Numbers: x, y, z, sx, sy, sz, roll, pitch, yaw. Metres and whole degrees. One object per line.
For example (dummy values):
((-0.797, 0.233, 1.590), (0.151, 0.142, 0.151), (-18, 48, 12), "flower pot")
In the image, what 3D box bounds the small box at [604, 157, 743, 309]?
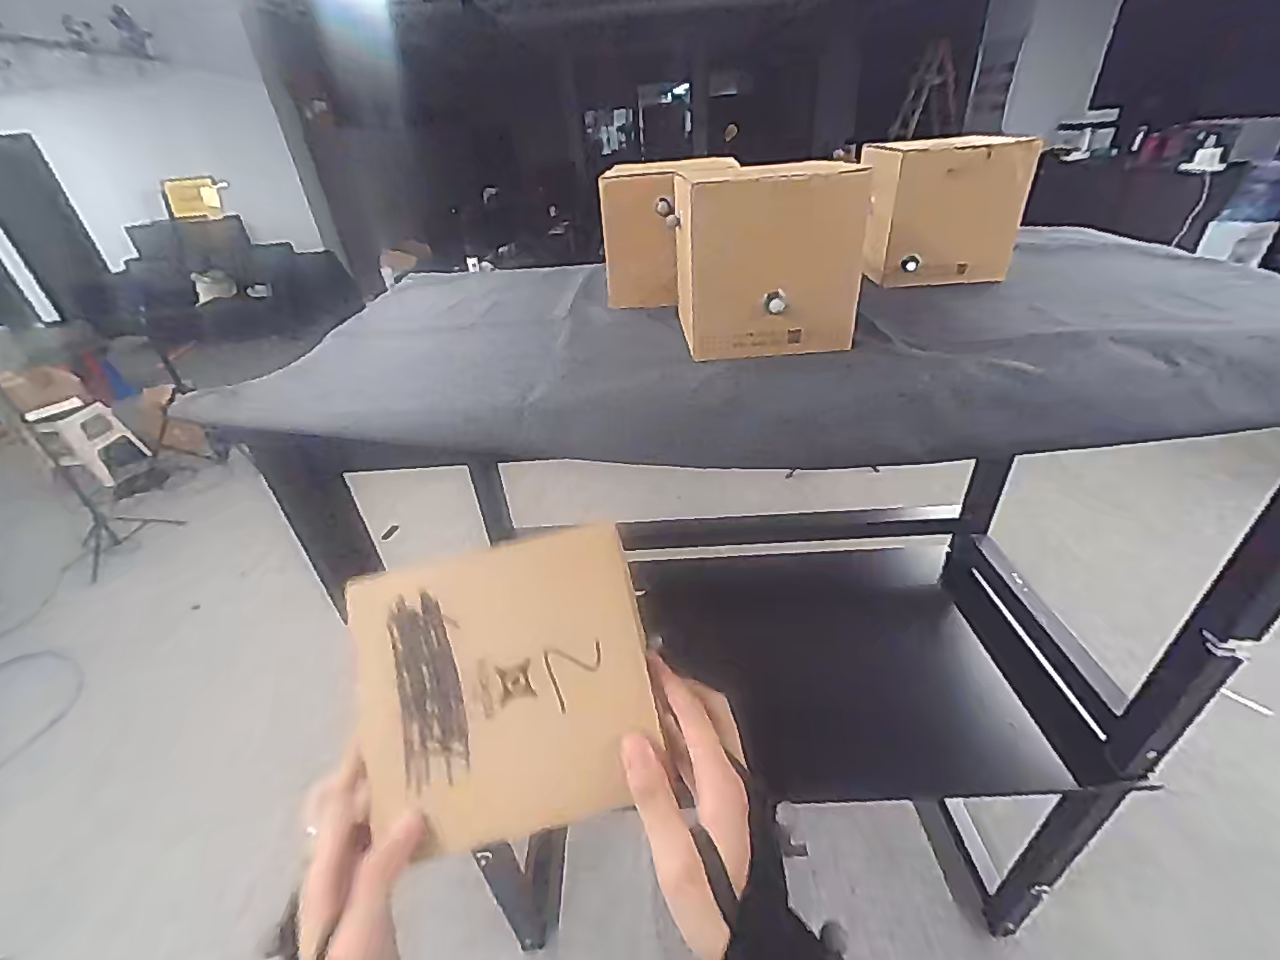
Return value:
((0.053, -0.351, 0.768), (0.179, 0.176, 0.168), (0, 34, 6), "small box")

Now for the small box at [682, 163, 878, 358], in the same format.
((0.132, -0.242, 0.591), (0.168, 0.176, 0.179), (-4, 33, 1), "small box")

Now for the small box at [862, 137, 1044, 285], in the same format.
((0.418, -0.380, 0.769), (0.168, 0.176, 0.179), (-1, 33, 4), "small box")
